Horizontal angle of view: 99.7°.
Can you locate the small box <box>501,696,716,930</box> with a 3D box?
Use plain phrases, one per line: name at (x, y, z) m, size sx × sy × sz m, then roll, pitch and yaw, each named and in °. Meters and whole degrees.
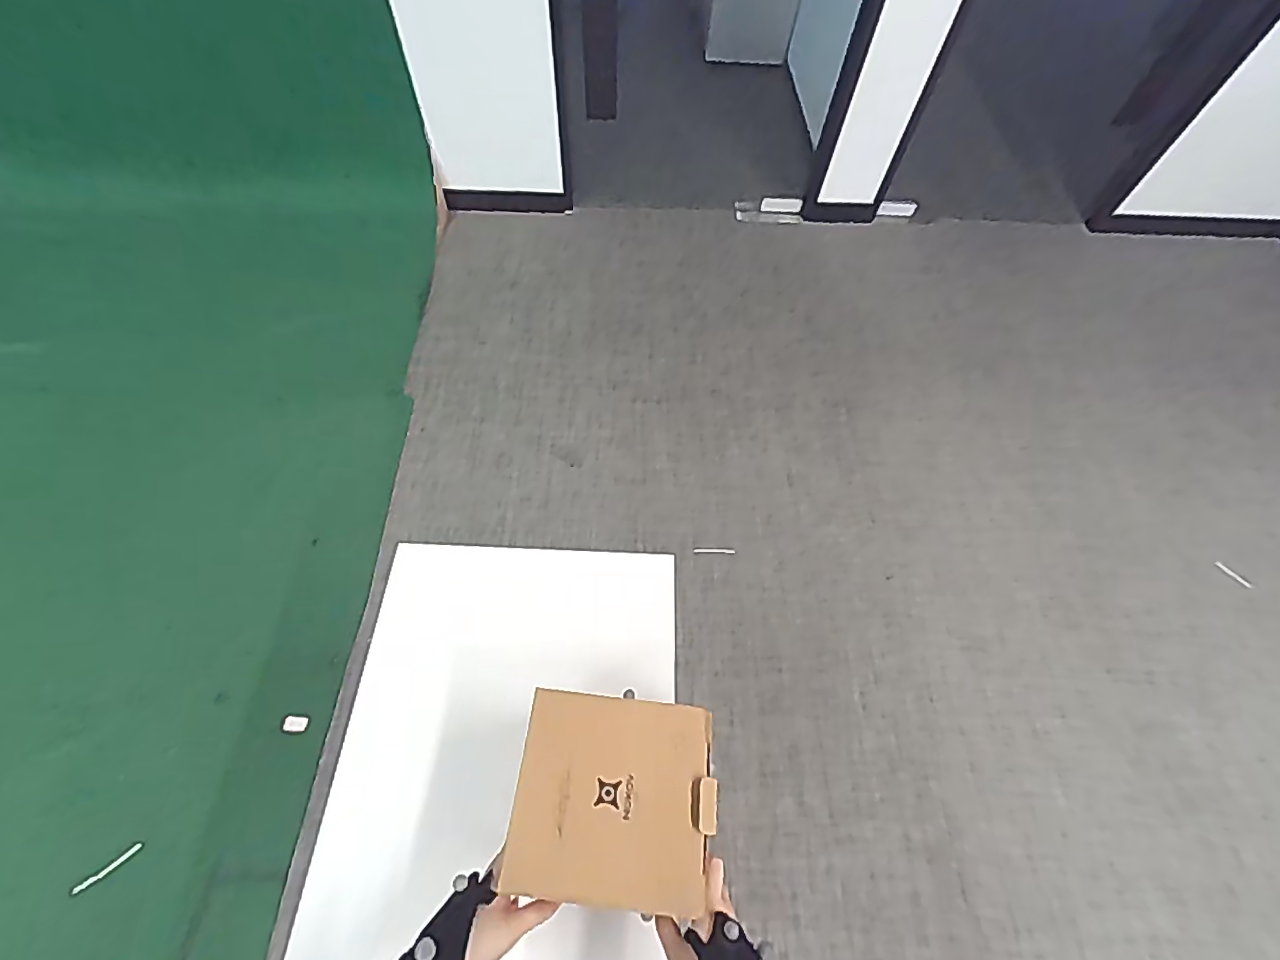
small box at (-0.023, 0.330, 0.550) m, size 0.179 × 0.176 × 0.168 m, roll 5°, pitch 57°, yaw 2°
